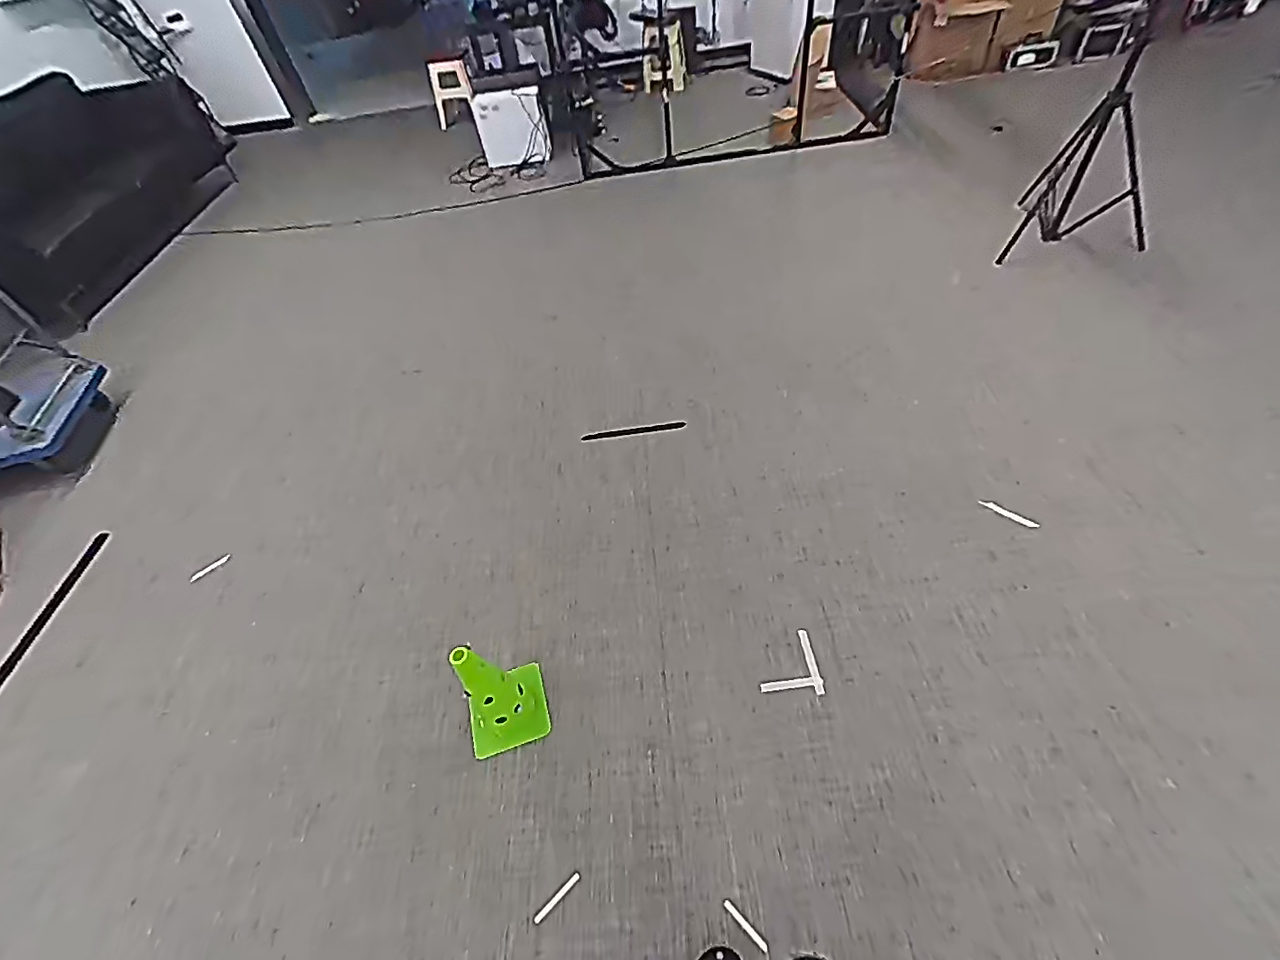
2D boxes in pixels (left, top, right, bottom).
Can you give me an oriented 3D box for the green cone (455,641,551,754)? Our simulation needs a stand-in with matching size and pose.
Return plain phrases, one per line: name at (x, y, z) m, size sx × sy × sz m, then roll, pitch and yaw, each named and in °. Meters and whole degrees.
green cone at (-0.363, 0.483, 1.290) m, size 0.202 × 0.368 × 0.200 m, roll -18°, pitch 50°, yaw -7°
